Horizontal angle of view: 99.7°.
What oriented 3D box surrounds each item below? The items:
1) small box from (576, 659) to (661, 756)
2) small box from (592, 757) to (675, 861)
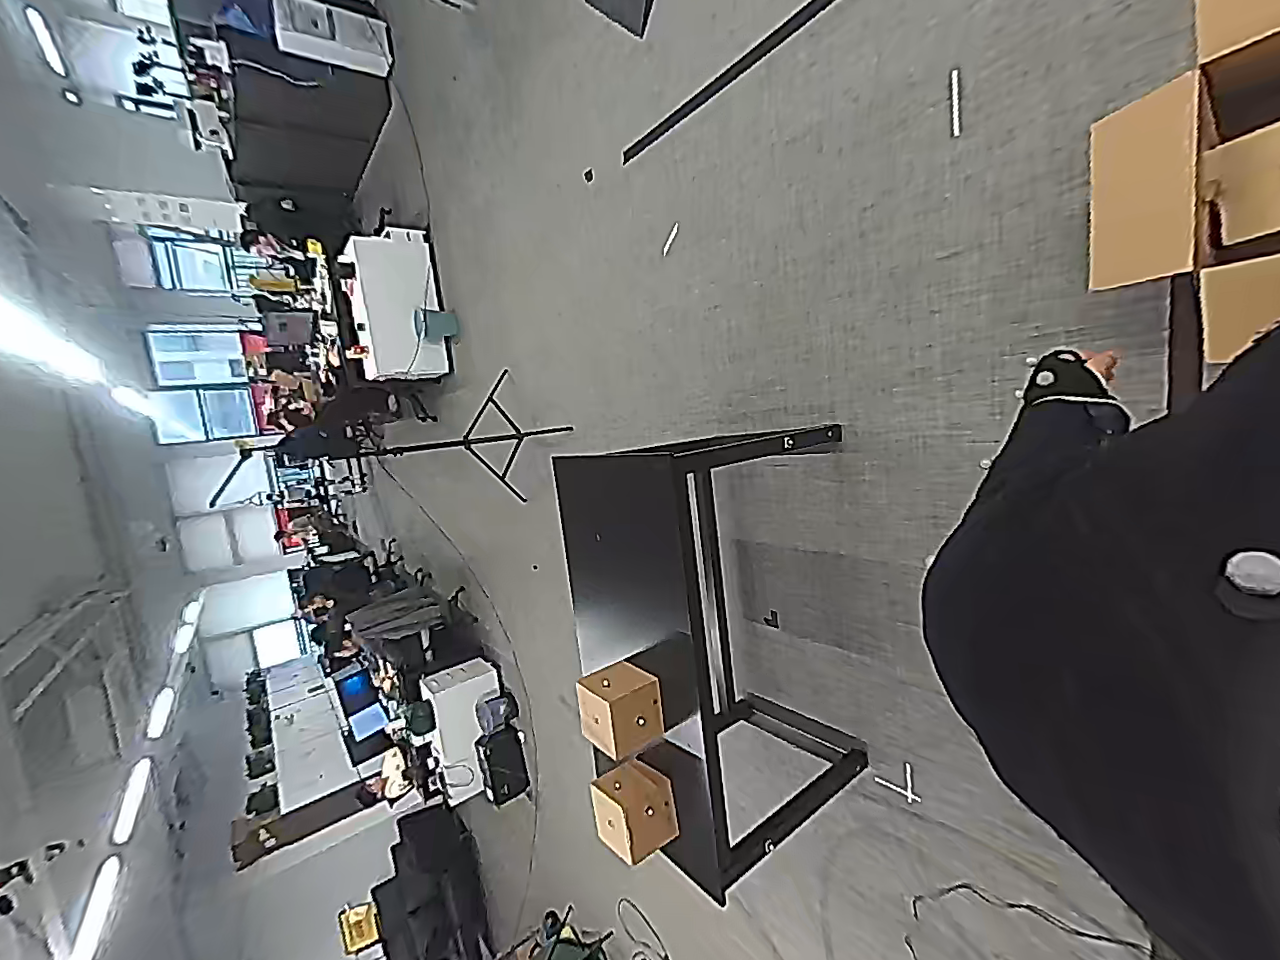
[{"bbox_3d":[-0.054,0.623,1.509,0.179,0.176,0.168,4,102,54],"label":"small box"},{"bbox_3d":[-0.013,0.926,1.545,0.179,0.176,0.168,-6,93,55],"label":"small box"}]
